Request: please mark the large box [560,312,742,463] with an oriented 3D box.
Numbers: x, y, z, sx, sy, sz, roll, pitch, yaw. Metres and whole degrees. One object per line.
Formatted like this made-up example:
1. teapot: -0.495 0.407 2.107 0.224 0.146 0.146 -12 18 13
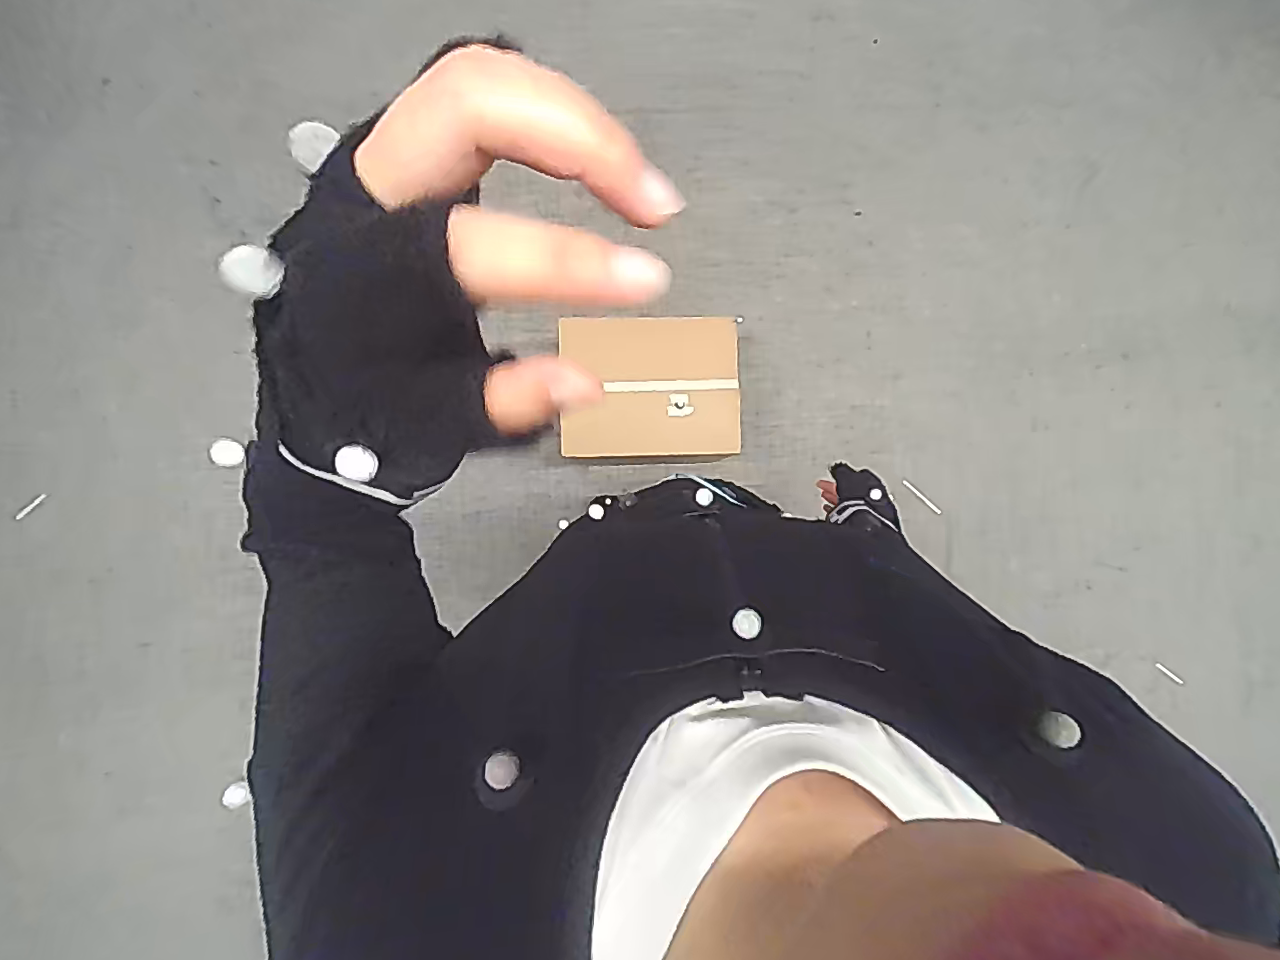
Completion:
1. large box: 0.017 -0.213 1.353 0.408 0.320 0.320 -1 89 -3
